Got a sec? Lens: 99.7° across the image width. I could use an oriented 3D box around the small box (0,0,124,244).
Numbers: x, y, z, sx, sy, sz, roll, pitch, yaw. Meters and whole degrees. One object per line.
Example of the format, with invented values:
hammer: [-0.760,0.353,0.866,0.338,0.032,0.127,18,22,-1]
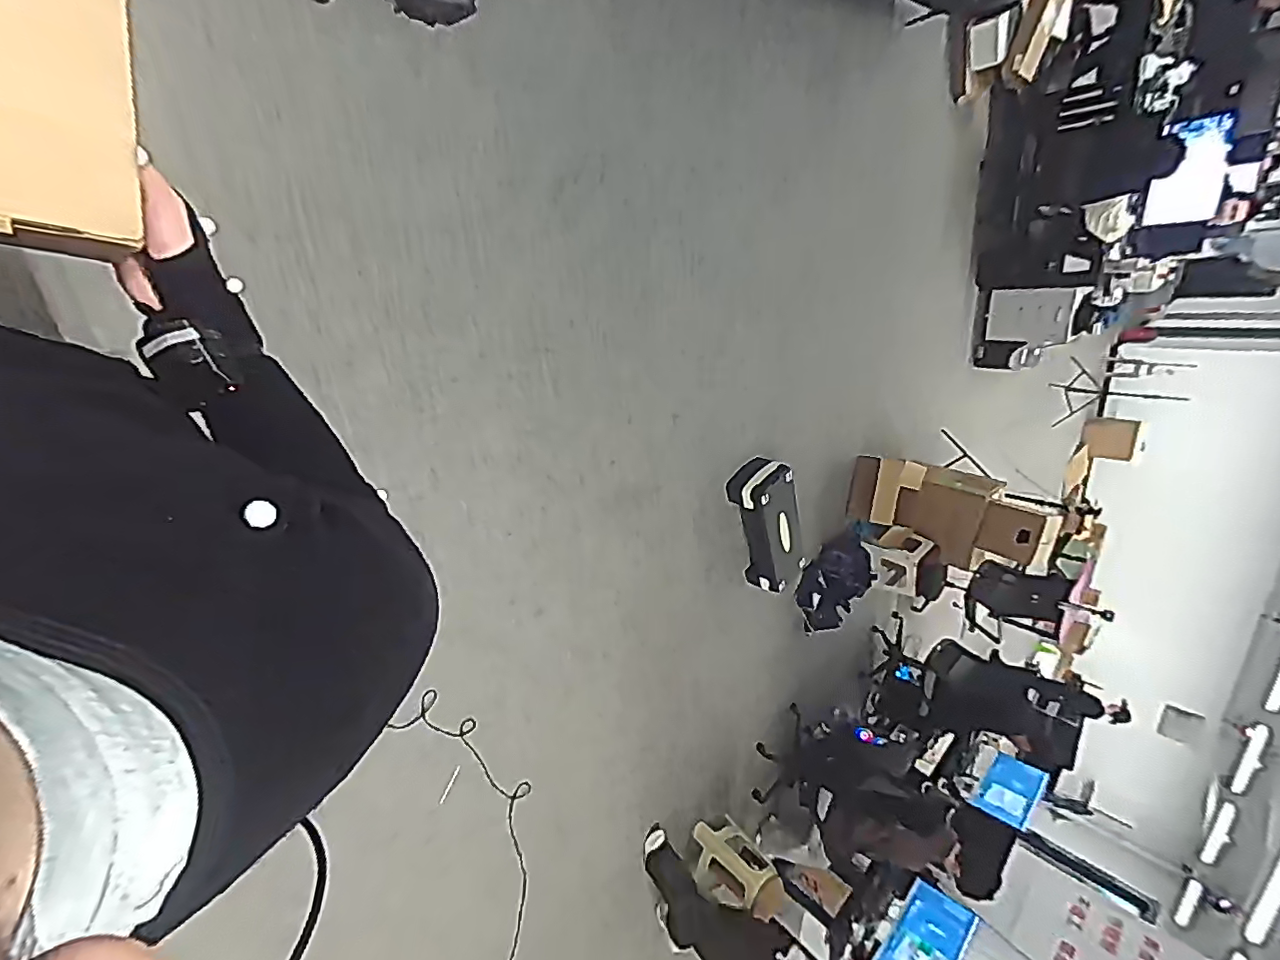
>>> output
small box: [-0.438,-0.252,0.324,0.168,0.176,0.179,-8,108,-49]
